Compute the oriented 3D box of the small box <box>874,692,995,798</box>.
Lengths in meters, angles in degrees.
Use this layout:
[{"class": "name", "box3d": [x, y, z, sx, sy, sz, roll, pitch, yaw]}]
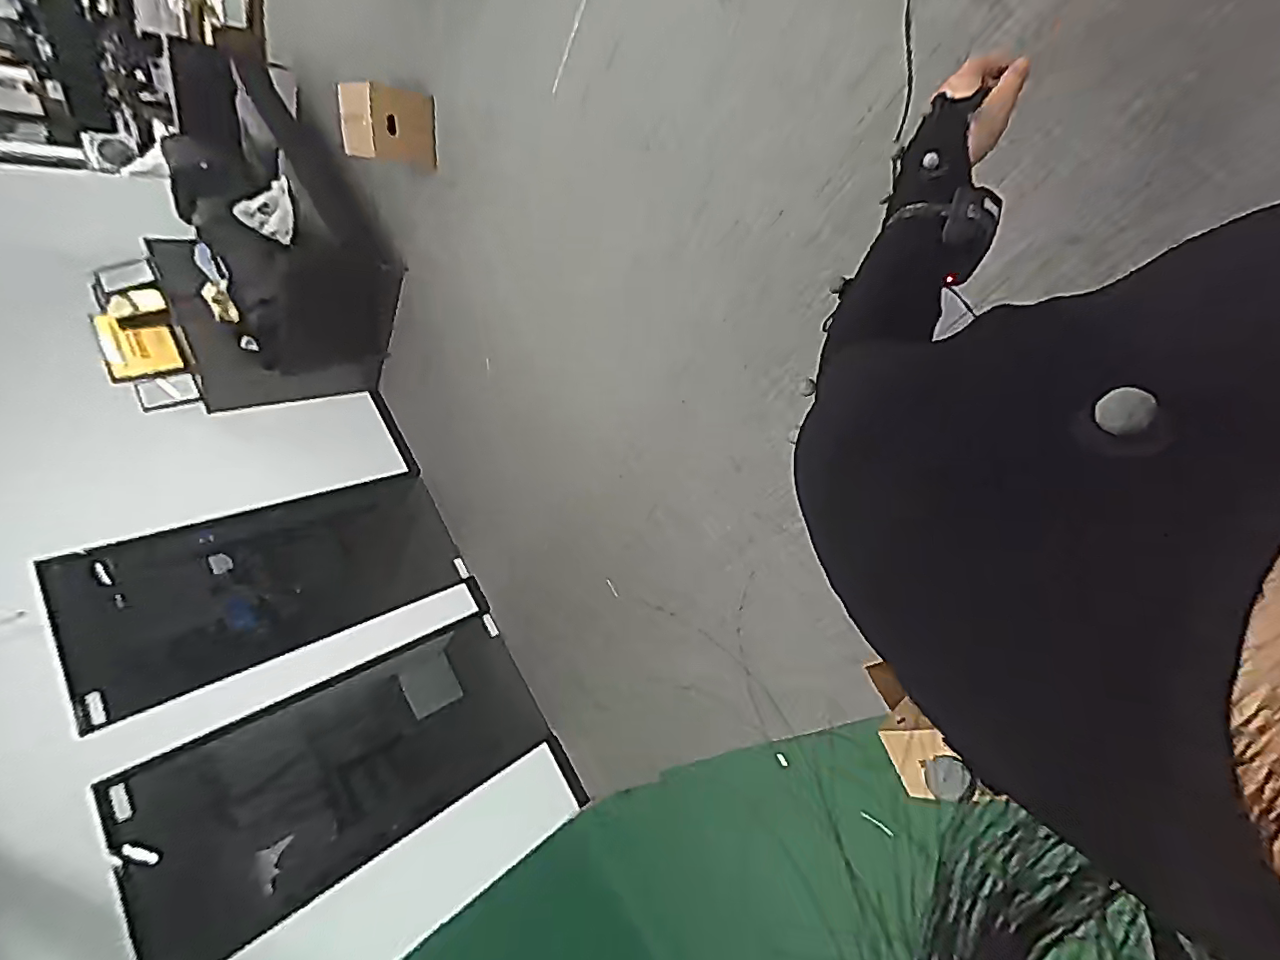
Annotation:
[{"class": "small box", "box3d": [0.708, 0.630, 1.298, 0.179, 0.176, 0.168, -34, 79, 47]}]
